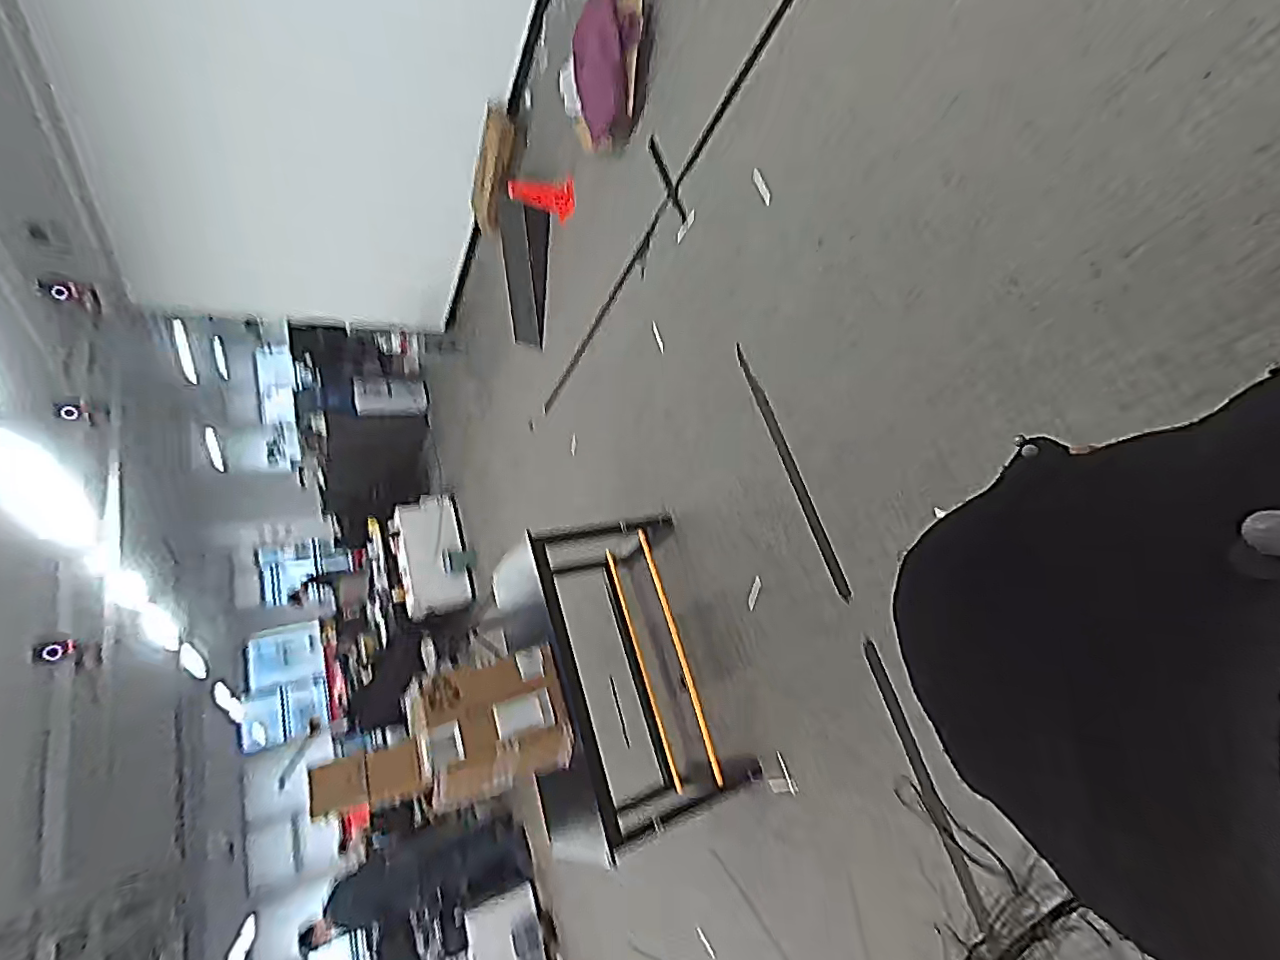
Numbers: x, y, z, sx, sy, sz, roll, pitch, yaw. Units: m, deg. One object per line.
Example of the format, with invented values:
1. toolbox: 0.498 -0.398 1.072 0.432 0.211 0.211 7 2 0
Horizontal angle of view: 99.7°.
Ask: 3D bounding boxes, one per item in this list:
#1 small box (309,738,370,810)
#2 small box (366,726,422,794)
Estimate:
1. small box: -1.022 1.005 1.848 0.179 0.176 0.168 -55 49 48
2. small box: -0.882 1.002 1.935 0.179 0.176 0.168 -52 51 49
